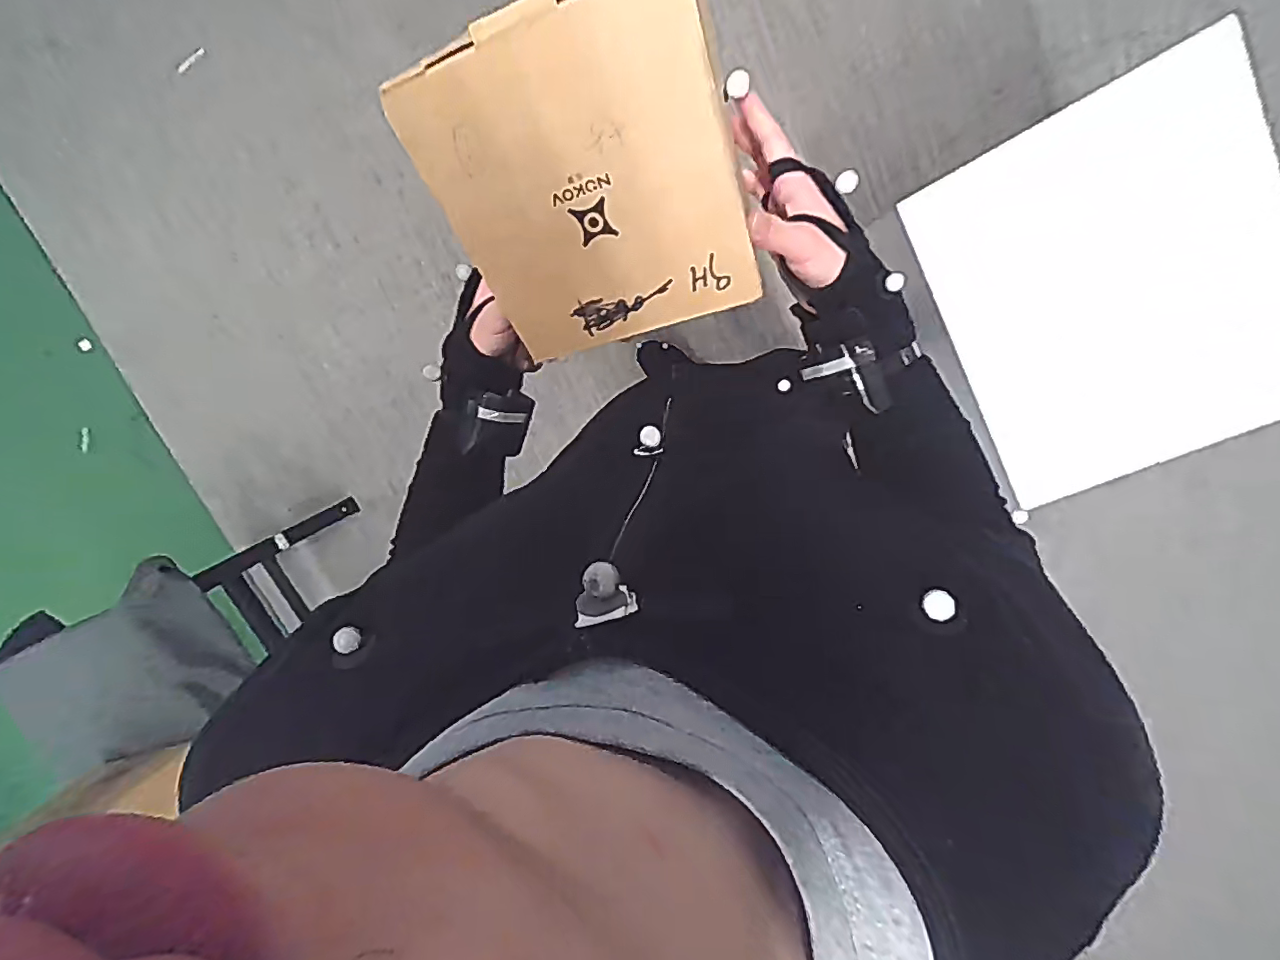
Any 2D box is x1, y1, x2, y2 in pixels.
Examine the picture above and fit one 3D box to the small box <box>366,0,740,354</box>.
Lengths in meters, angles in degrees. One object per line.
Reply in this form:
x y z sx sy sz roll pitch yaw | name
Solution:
-0.033 -0.219 0.364 0.168 0.176 0.179 -10 136 18 | small box
